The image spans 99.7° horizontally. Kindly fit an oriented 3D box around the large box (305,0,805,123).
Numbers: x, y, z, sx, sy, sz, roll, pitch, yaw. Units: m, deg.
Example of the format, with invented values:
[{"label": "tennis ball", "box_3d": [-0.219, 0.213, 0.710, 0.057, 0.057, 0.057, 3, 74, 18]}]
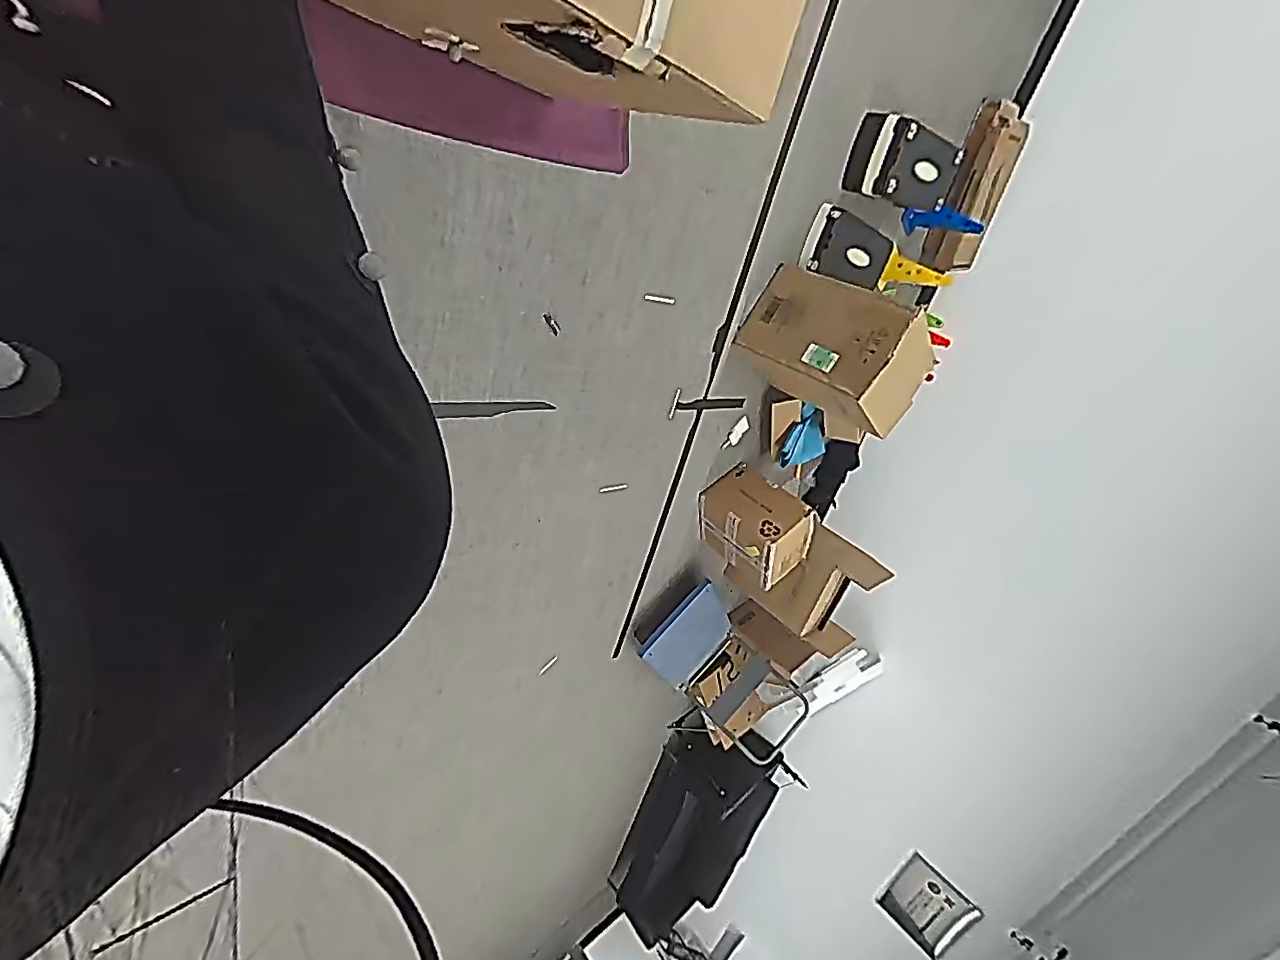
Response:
[{"label": "large box", "box_3d": [-0.052, -0.519, 0.358, 0.320, 0.320, 0.408, -11, 126, -45]}]
